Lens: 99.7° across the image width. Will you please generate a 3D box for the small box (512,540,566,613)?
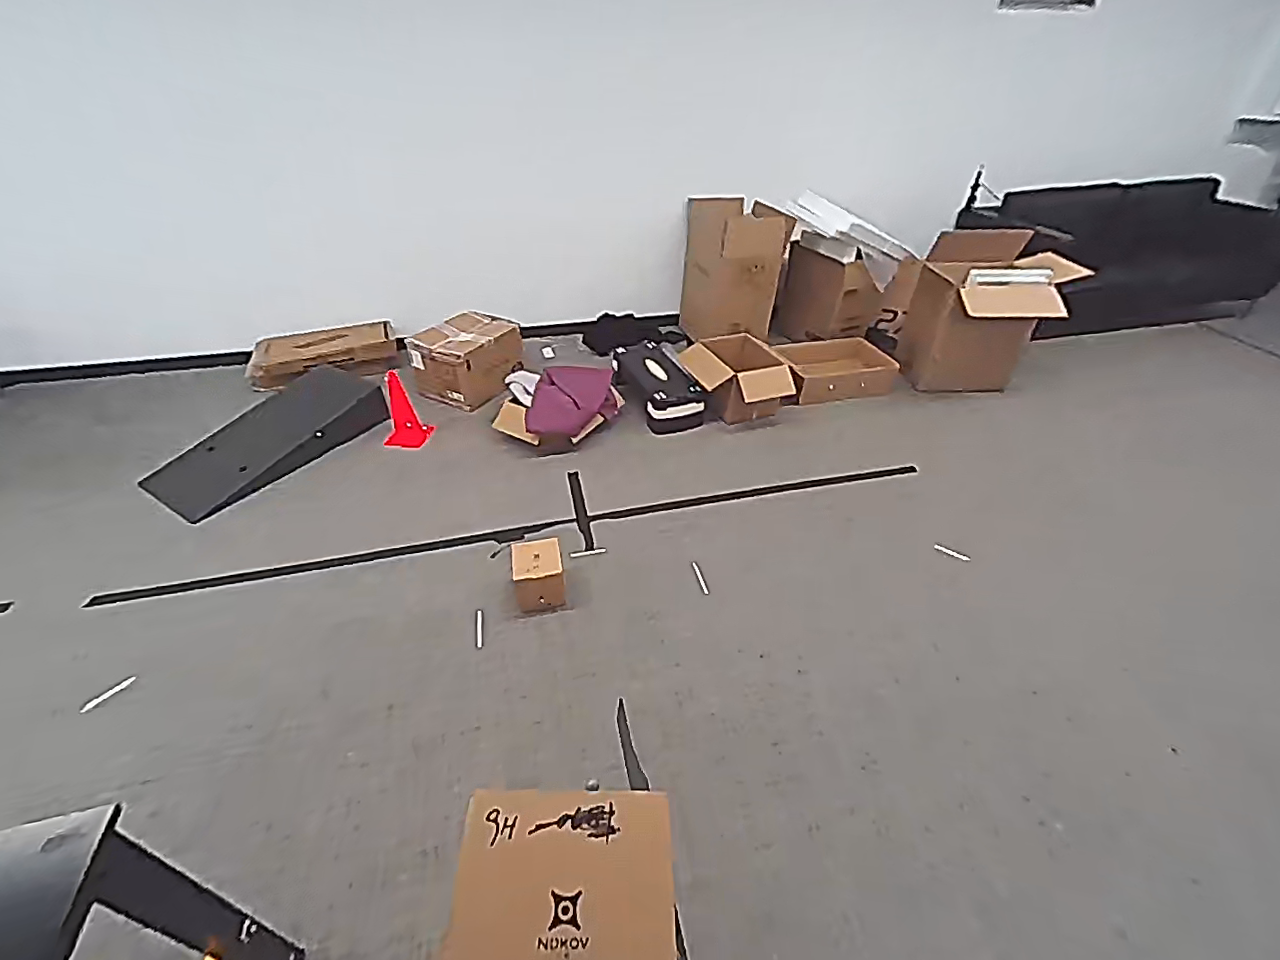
[{"bbox_3d":[-0.357,0.341,1.909,0.168,0.176,0.179,-8,39,-10],"label":"small box"}]
